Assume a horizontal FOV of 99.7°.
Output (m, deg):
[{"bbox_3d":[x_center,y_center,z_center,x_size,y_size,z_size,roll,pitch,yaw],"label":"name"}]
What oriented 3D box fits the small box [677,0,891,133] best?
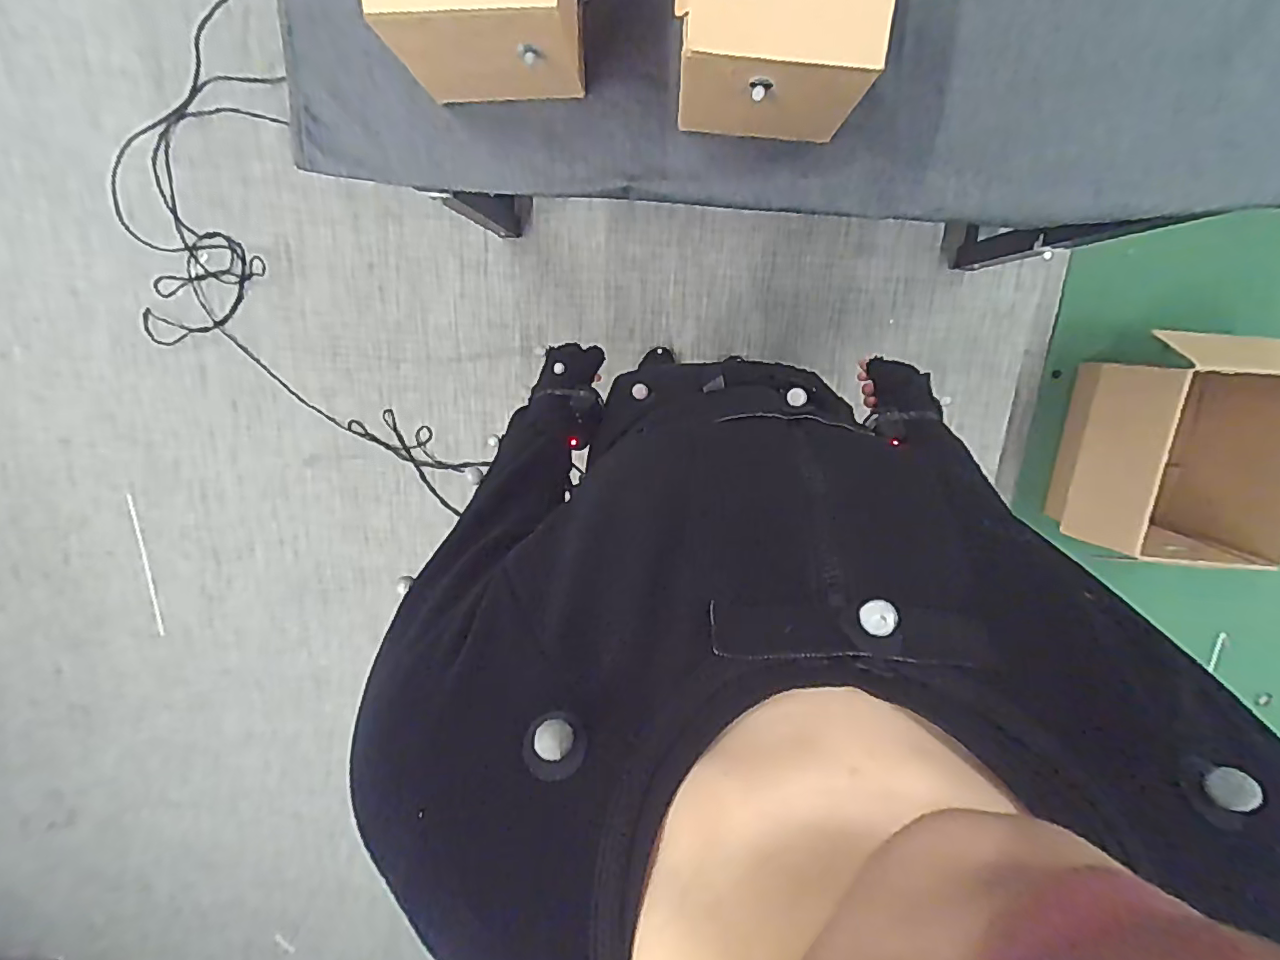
[{"bbox_3d":[0.130,-0.459,0.520,0.179,0.176,0.168,6,104,2],"label":"small box"}]
